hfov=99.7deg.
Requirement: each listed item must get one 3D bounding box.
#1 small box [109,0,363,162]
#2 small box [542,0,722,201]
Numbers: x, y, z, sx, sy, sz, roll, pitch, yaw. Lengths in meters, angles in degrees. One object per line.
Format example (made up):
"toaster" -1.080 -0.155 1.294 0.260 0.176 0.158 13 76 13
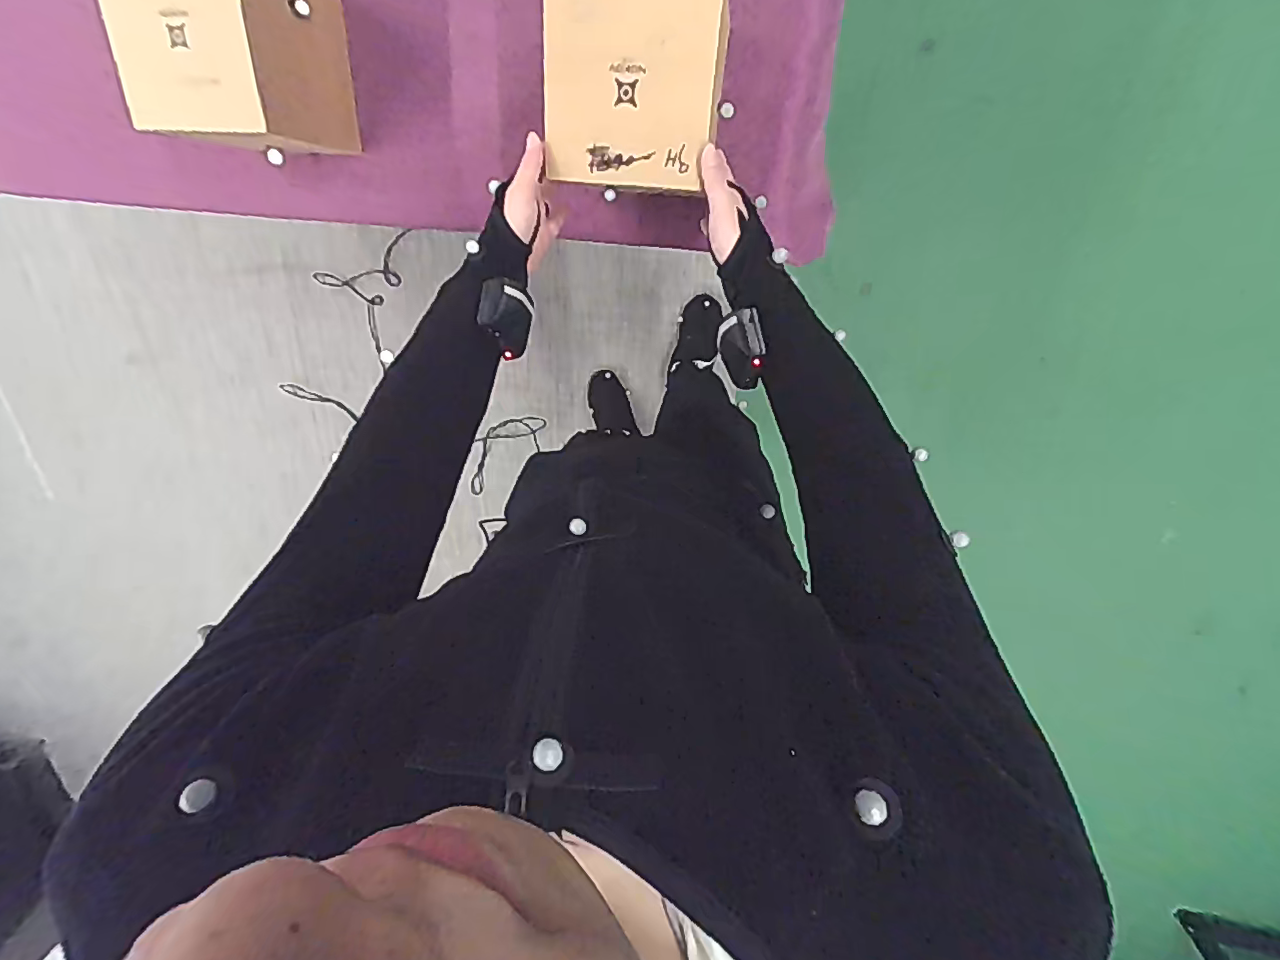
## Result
"small box" -0.463 -0.493 0.642 0.168 0.176 0.179 7 115 8
"small box" -0.003 -0.413 0.596 0.168 0.176 0.179 8 118 7
